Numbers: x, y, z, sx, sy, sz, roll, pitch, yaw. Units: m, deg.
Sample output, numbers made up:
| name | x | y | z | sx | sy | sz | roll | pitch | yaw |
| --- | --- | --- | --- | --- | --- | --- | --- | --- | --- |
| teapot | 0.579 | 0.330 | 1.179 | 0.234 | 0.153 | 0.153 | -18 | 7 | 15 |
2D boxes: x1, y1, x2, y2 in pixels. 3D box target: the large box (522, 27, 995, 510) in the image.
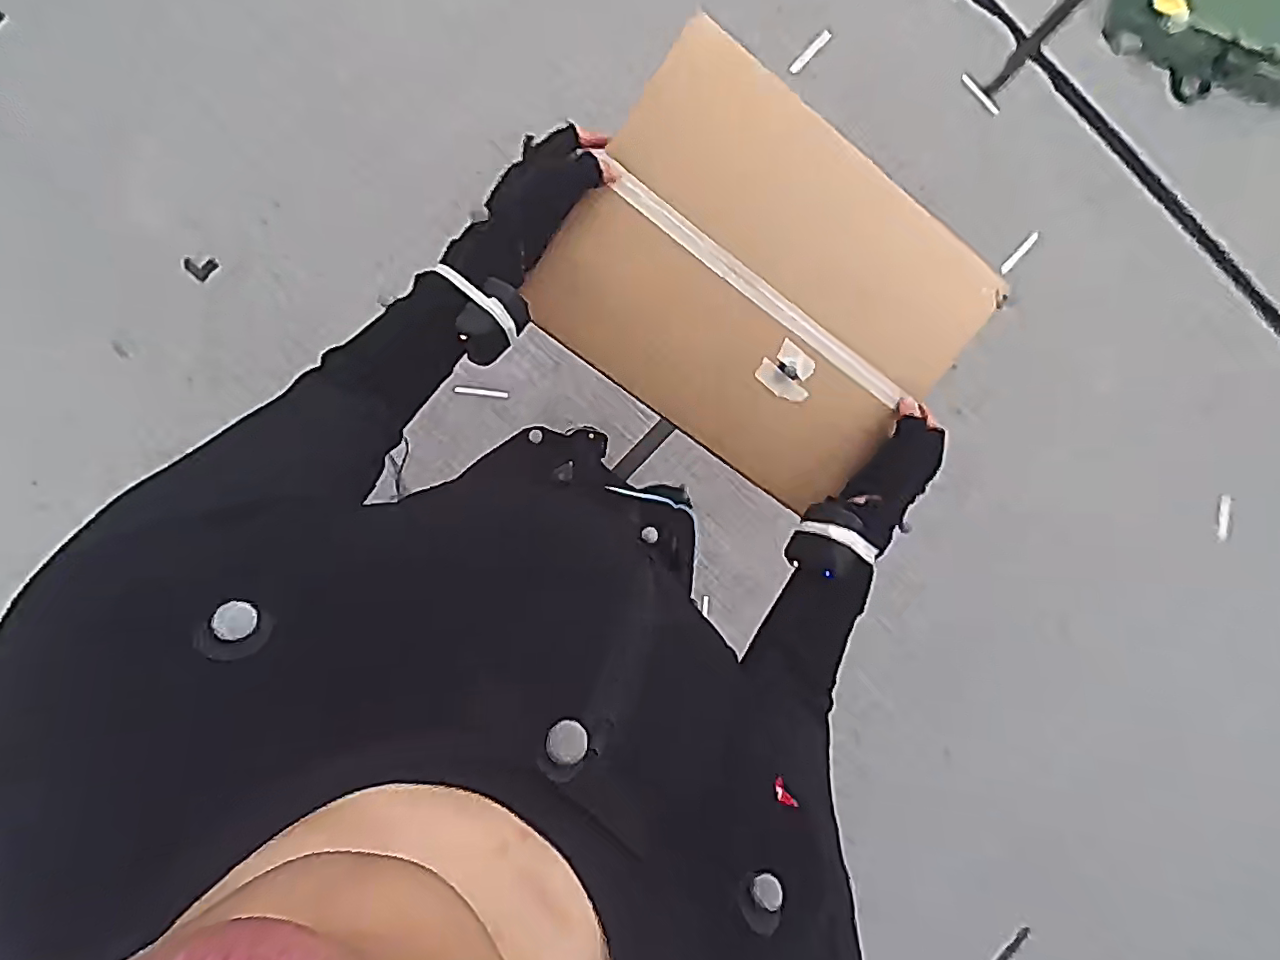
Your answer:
| name | x | y | z | sx | sy | sz | roll | pitch | yaw |
| --- | --- | --- | --- | --- | --- | --- | --- | --- | --- |
| large box | 0.116 | -0.226 | 0.699 | 0.408 | 0.320 | 0.320 | 35 | 100 | -10 |
